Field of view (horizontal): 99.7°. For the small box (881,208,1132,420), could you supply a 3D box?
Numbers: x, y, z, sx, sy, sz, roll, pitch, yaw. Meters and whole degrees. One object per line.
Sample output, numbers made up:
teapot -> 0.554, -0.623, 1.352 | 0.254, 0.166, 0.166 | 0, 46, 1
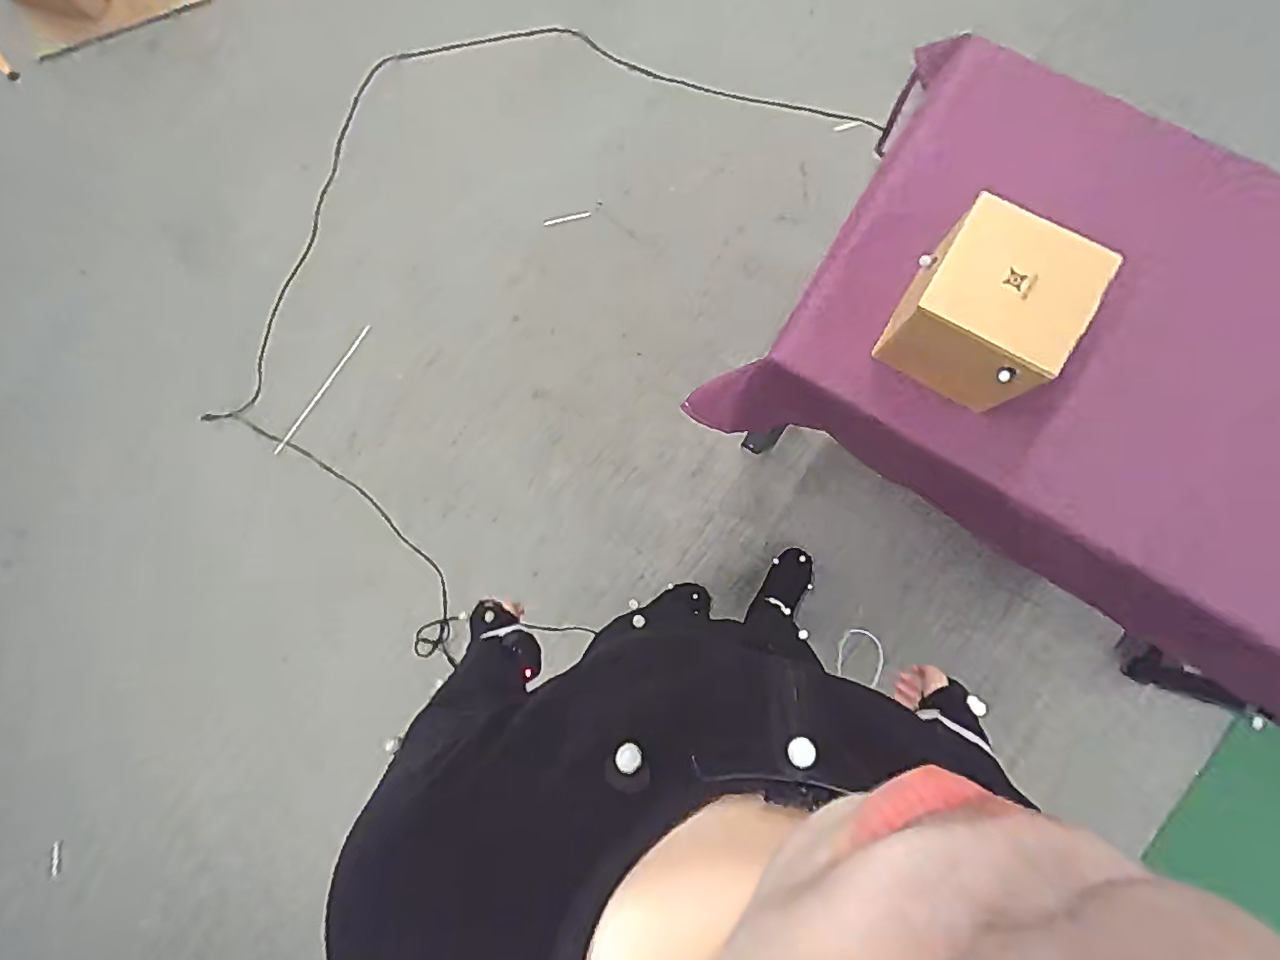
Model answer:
small box -> 0.448, -0.197, 0.697 | 0.179, 0.176, 0.168 | 34, 87, 8
